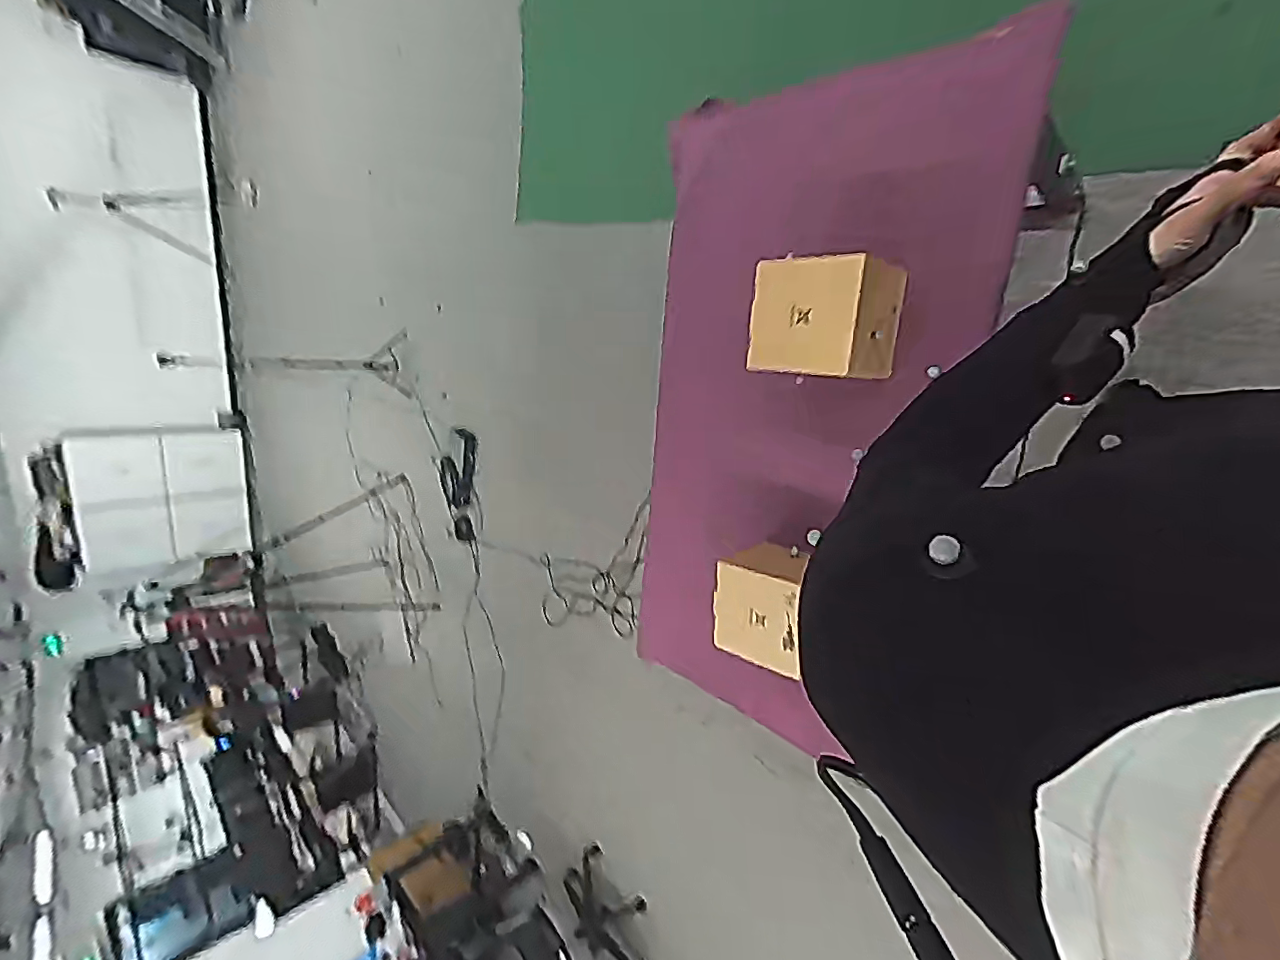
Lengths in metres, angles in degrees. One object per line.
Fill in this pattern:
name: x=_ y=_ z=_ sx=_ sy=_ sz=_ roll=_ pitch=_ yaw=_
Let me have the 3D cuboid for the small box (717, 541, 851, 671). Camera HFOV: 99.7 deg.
small box: x=0.264 y=0.219 z=0.999 sx=0.179 sy=0.176 sz=0.168 roll=11 pitch=105 yaw=44

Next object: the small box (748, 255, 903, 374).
small box: x=0.302 y=-0.262 z=0.877 sx=0.179 sy=0.176 sz=0.168 roll=16 pitch=108 yaw=44

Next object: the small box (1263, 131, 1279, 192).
small box: x=0.558 y=-0.281 z=0.345 sx=0.168 sy=0.176 sz=0.179 roll=24 pitch=121 yaw=36
